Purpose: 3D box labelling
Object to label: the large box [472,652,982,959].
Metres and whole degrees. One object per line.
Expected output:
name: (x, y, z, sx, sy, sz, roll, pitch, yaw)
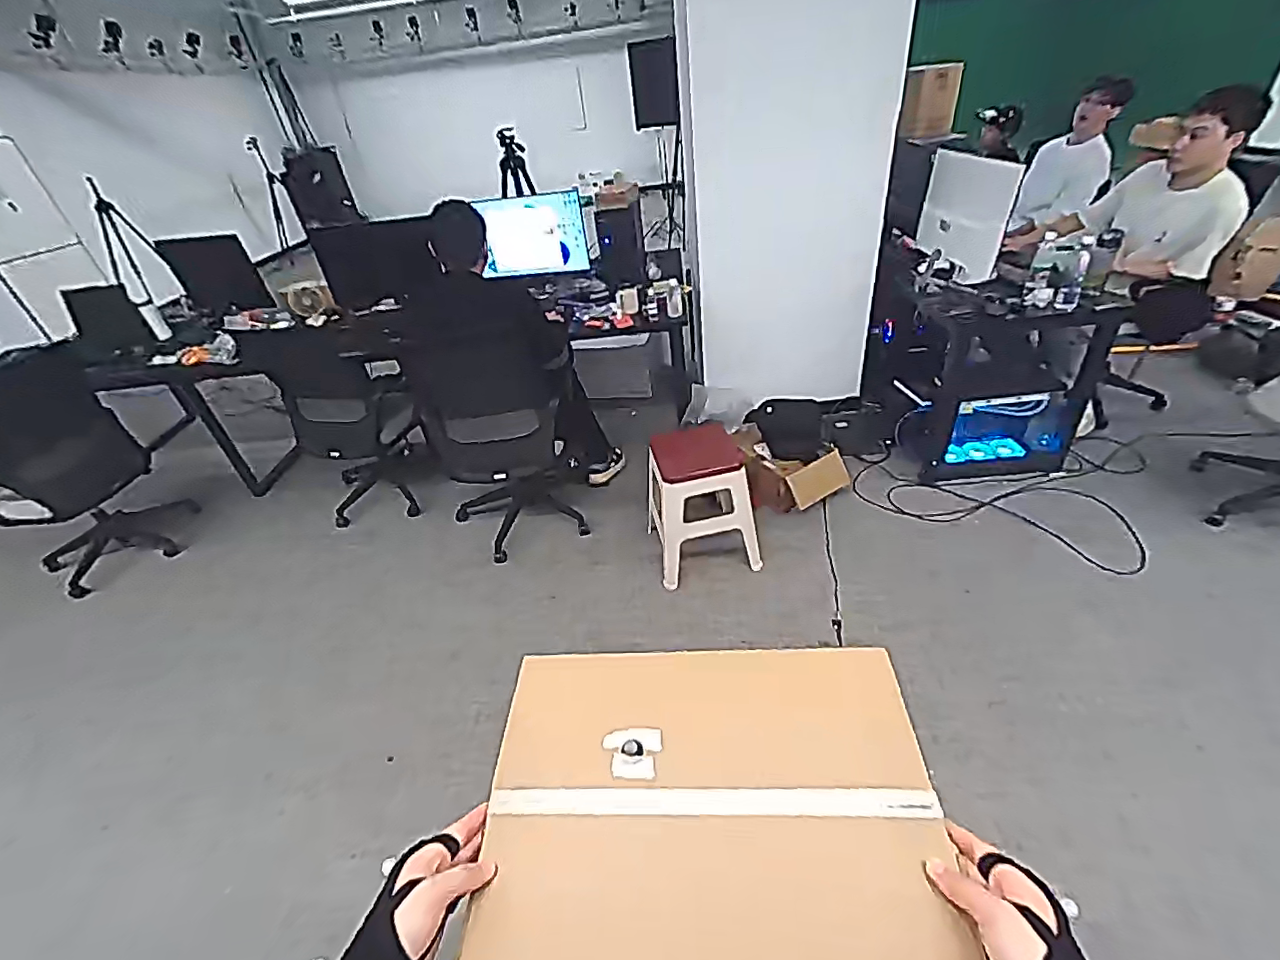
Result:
large box: (0.083, 0.418, 0.596, 0.408, 0.320, 0.320, -5, 39, 7)
